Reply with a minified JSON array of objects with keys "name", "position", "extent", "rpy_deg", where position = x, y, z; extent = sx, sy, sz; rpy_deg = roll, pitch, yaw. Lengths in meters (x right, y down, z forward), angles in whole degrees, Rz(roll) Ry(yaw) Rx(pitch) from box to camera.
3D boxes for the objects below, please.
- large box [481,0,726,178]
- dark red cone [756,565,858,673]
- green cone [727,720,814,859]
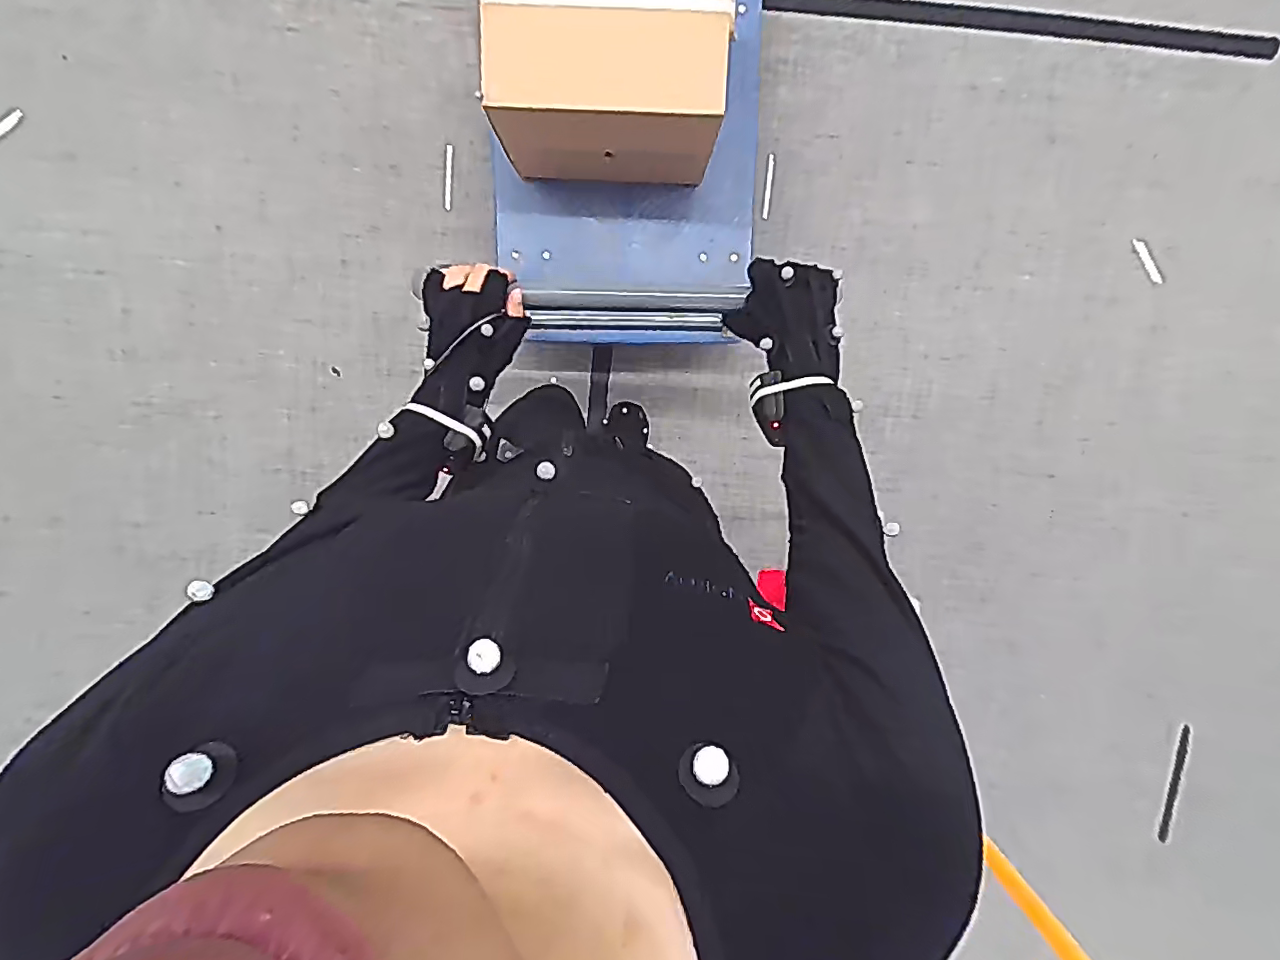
[{"name":"large box","position":[-0.058,-0.788,1.016],"extent":[0.408,0.320,0.320],"rpy_deg":[1,100,-1]},{"name":"dark red cone","position":[0.434,0.364,1.338],"extent":[0.201,0.394,0.202],"rpy_deg":[4,99,-4]},{"name":"green cone","position":[0.372,0.837,1.430],"extent":[0.202,0.368,0.200],"rpy_deg":[8,99,-4]}]
